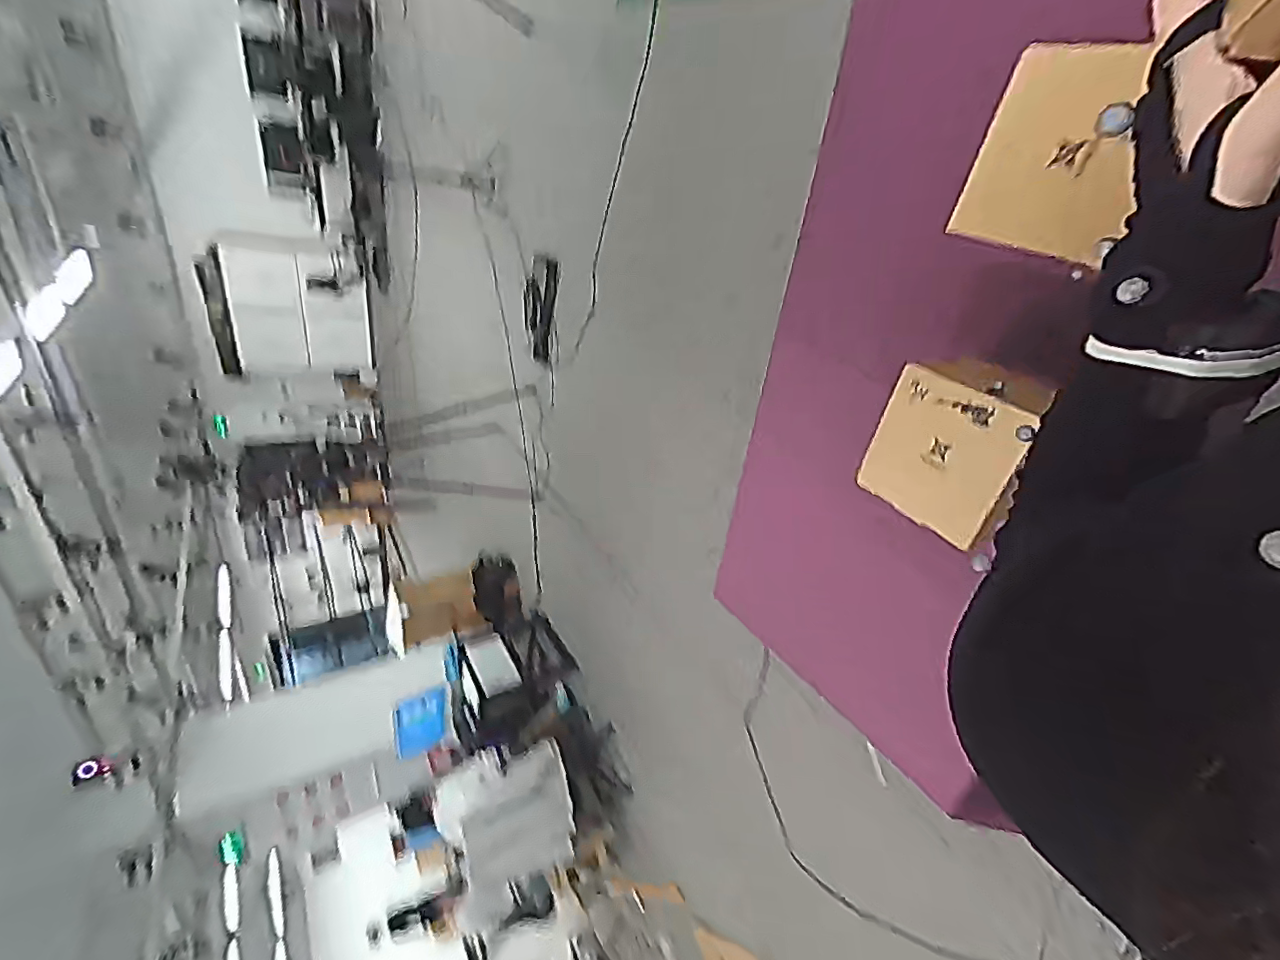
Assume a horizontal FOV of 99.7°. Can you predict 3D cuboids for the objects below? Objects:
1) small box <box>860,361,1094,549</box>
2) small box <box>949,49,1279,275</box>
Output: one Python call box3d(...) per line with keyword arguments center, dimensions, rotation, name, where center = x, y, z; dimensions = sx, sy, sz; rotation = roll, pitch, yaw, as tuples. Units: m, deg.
box3d(center=(0.427, -0.042, 0.694), dimensions=(0.168, 0.176, 0.179), rotation=(43, 133, 43), name="small box")
box3d(center=(0.473, -0.316, 0.554), dimensions=(0.179, 0.176, 0.168), rotation=(44, 133, 42), name="small box")
